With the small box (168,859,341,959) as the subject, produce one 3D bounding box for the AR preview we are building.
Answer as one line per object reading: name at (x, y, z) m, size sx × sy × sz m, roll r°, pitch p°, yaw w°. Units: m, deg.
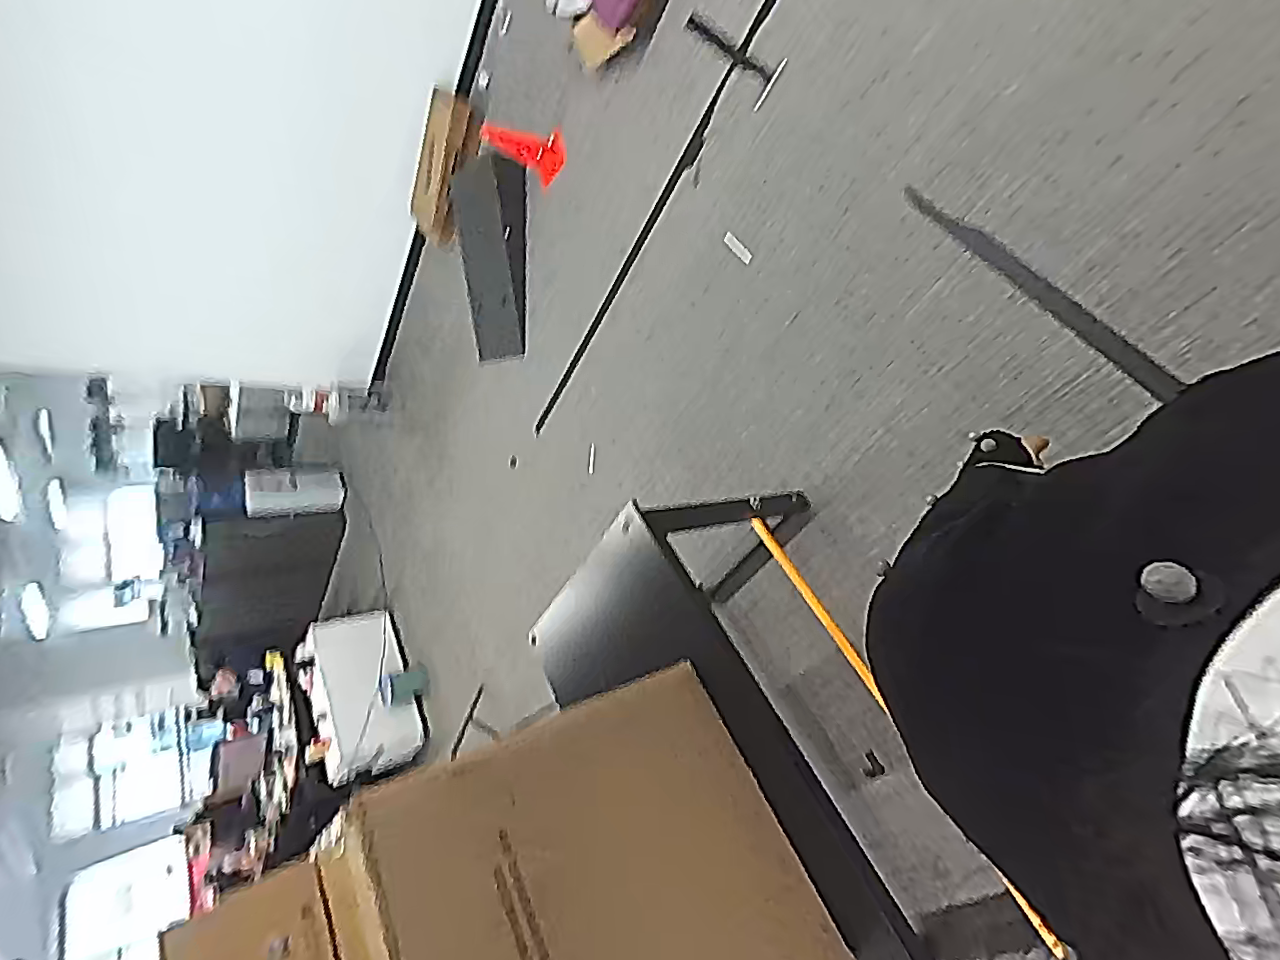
small box at (-0.510, 0.654, 0.724) m, size 0.168 × 0.176 × 0.179 m, roll 56°, pitch 132°, yaw 27°
